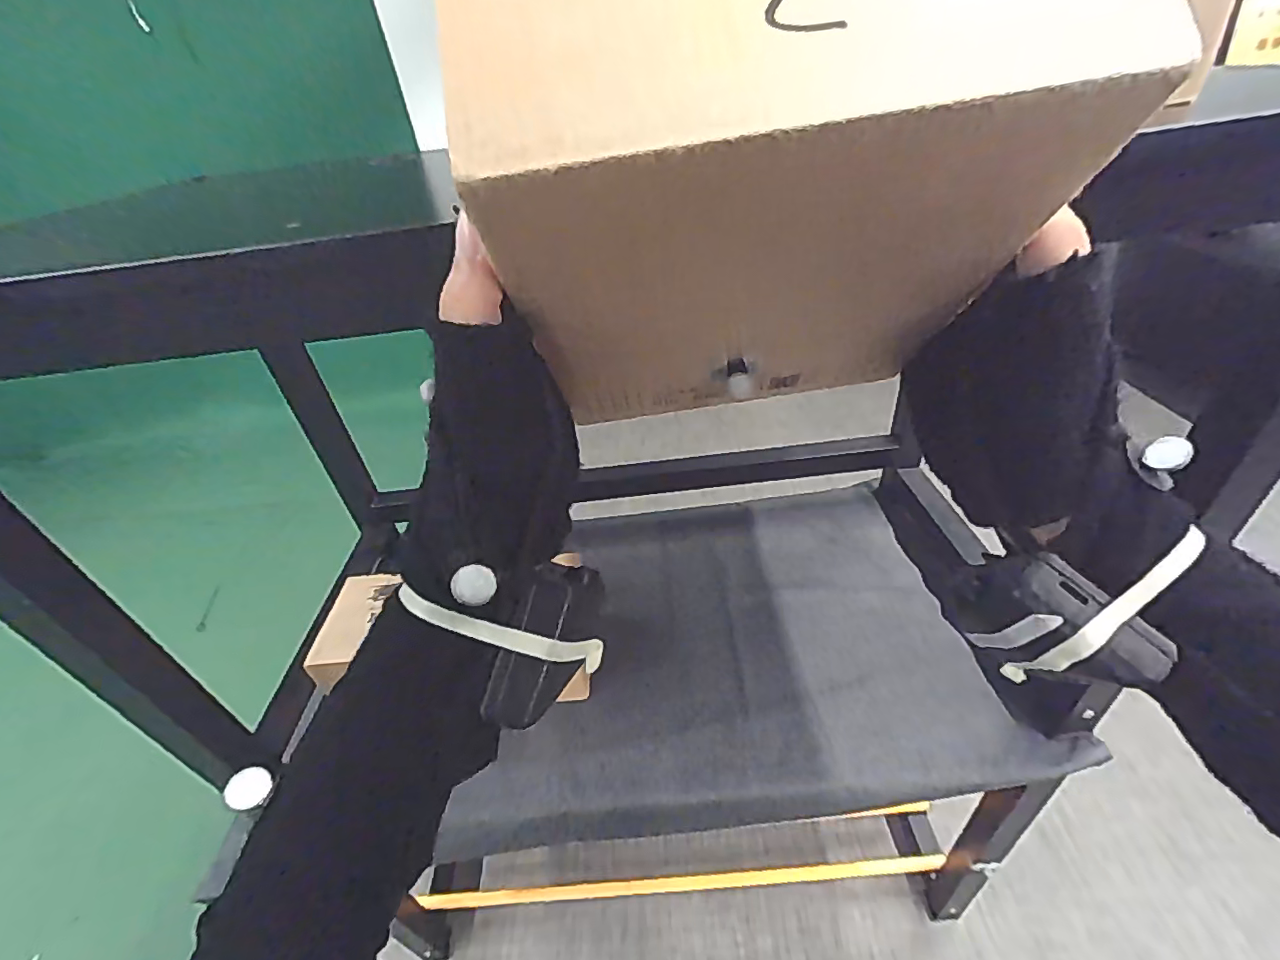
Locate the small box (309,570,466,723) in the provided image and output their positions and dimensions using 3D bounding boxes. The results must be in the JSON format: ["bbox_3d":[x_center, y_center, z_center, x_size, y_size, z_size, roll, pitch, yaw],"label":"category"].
[{"bbox_3d":[-0.400,0.276,0.902,0.168,0.176,0.179,-6,36,2],"label":"small box"}]

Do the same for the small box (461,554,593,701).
[{"bbox_3d":[-0.174,0.249,0.901,0.168,0.176,0.179,-5,36,3],"label":"small box"}]
